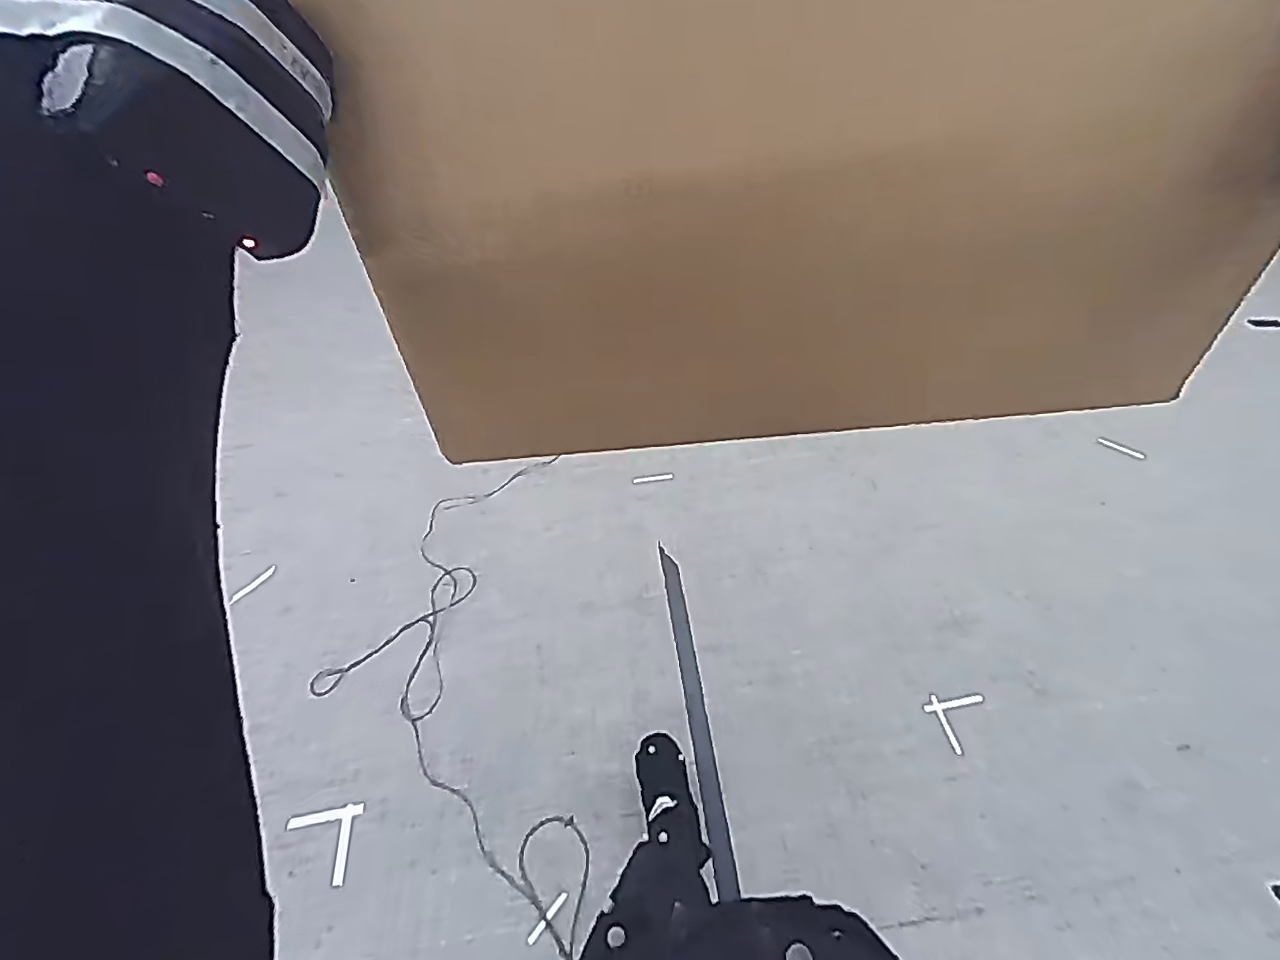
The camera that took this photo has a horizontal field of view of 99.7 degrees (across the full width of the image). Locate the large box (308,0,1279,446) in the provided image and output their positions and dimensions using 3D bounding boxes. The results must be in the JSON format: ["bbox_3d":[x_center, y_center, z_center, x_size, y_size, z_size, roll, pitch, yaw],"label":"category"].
[{"bbox_3d":[0.072,-0.244,0.328,0.408,0.320,0.320,-5,42,-1],"label":"large box"}]
